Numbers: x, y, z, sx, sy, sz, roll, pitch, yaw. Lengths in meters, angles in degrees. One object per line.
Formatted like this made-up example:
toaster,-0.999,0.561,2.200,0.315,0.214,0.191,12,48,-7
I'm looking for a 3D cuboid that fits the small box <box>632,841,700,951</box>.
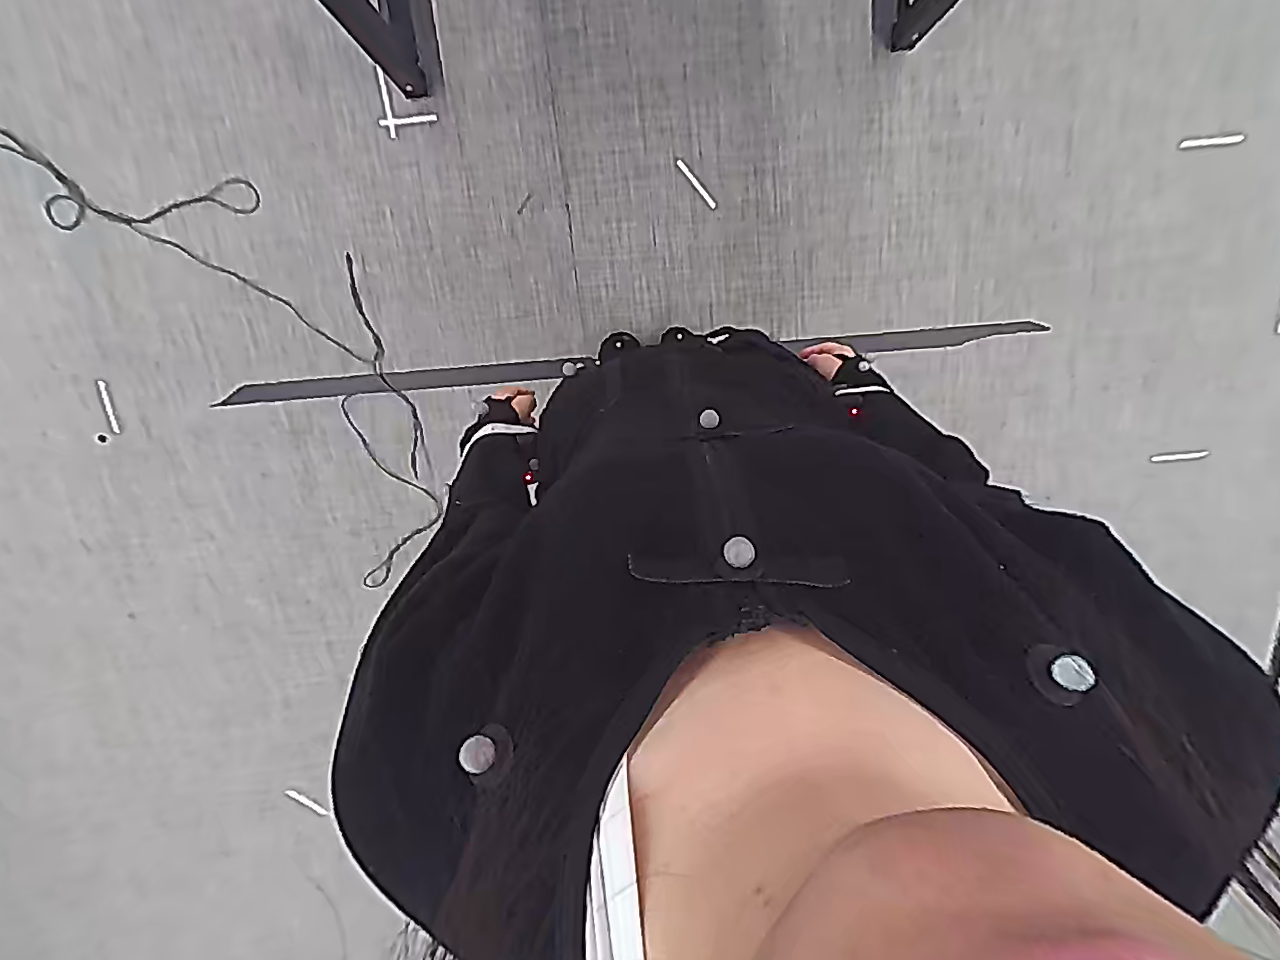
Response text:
small box,0.070,1.166,1.522,0.168,0.176,0.179,-10,105,0
